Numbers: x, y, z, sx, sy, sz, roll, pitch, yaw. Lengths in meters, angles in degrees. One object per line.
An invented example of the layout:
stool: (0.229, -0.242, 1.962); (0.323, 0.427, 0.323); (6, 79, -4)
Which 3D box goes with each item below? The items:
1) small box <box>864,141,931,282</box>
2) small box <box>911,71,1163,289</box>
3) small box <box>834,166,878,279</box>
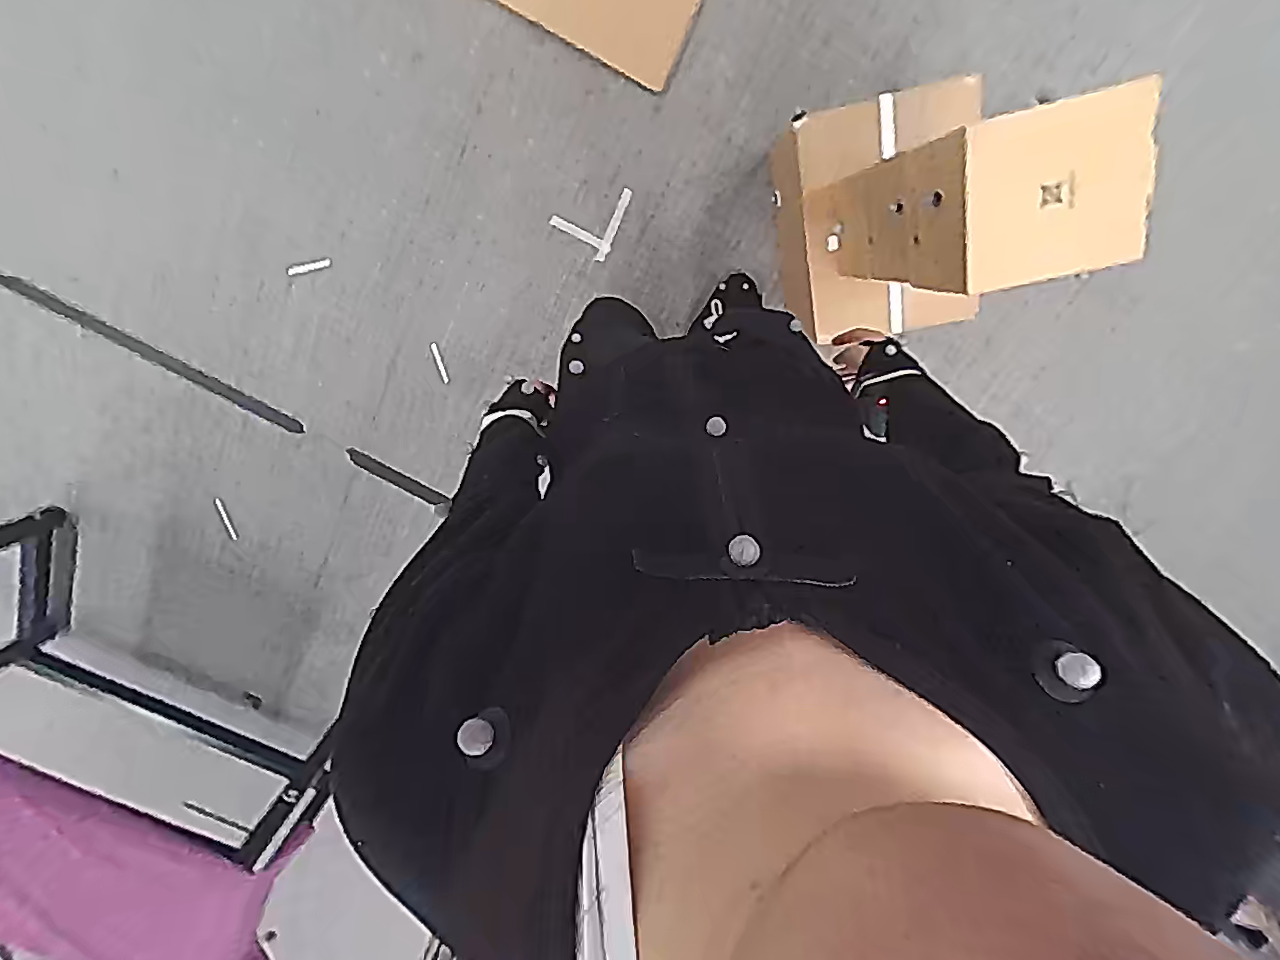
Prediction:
small box: (0.437, -0.386, 0.764); (0.179, 0.176, 0.168); (-10, 111, 8)
small box: (0.425, -0.321, 0.616); (0.179, 0.176, 0.168); (-11, 111, 8)
small box: (0.445, -0.448, 0.916); (0.179, 0.176, 0.168); (-10, 111, 9)
